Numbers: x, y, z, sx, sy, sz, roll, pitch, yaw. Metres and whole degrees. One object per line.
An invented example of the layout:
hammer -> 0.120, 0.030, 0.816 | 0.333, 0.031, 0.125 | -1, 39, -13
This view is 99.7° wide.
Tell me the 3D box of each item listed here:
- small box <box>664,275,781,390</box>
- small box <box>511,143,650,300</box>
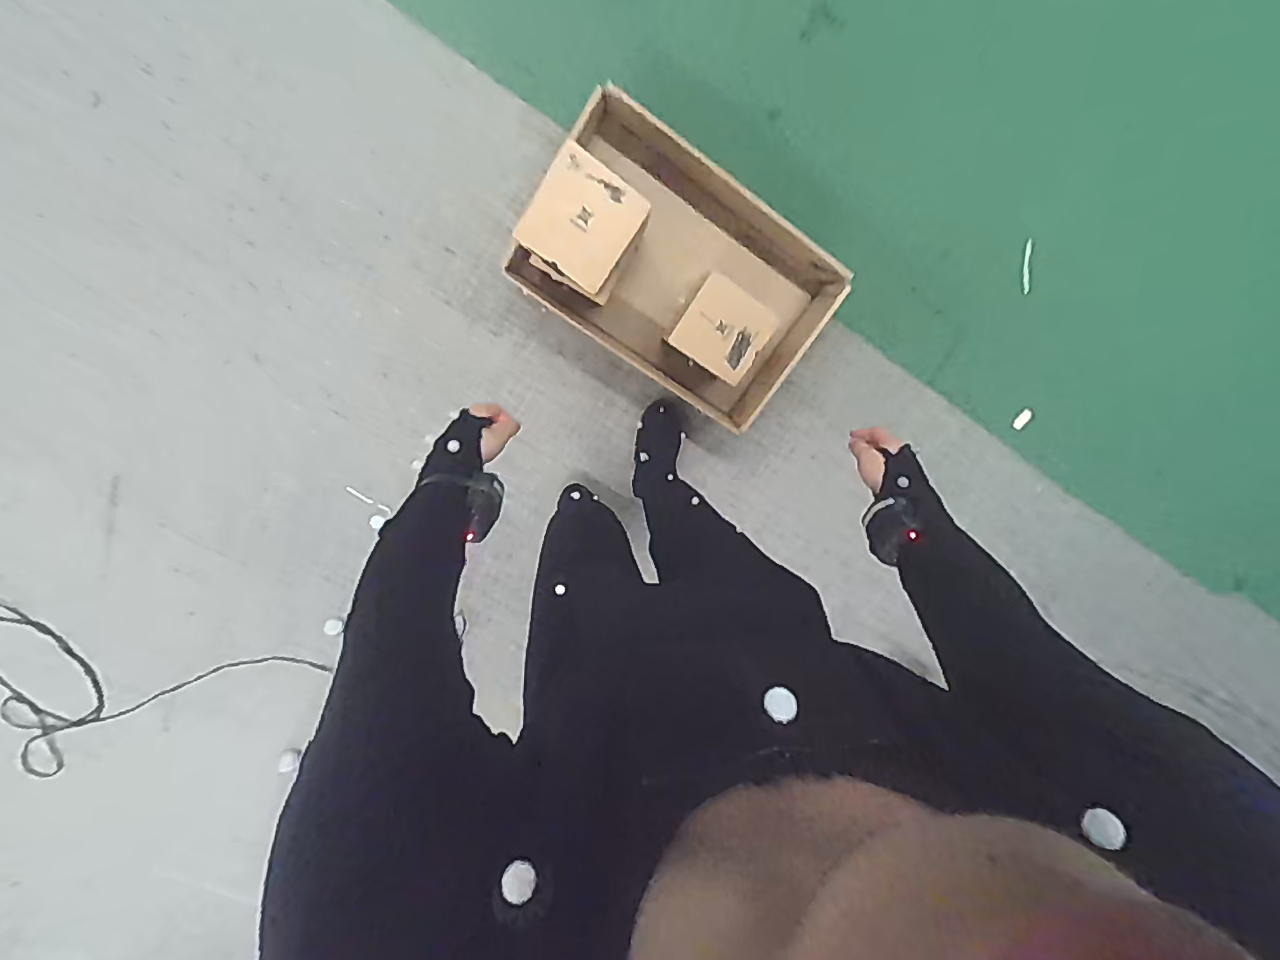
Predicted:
small box -> 0.169, -0.321, 1.167 | 0.179, 0.176, 0.168 | 32, 104, -11
small box -> -0.096, -0.437, 0.947 | 0.168, 0.176, 0.179 | 34, 105, -12
